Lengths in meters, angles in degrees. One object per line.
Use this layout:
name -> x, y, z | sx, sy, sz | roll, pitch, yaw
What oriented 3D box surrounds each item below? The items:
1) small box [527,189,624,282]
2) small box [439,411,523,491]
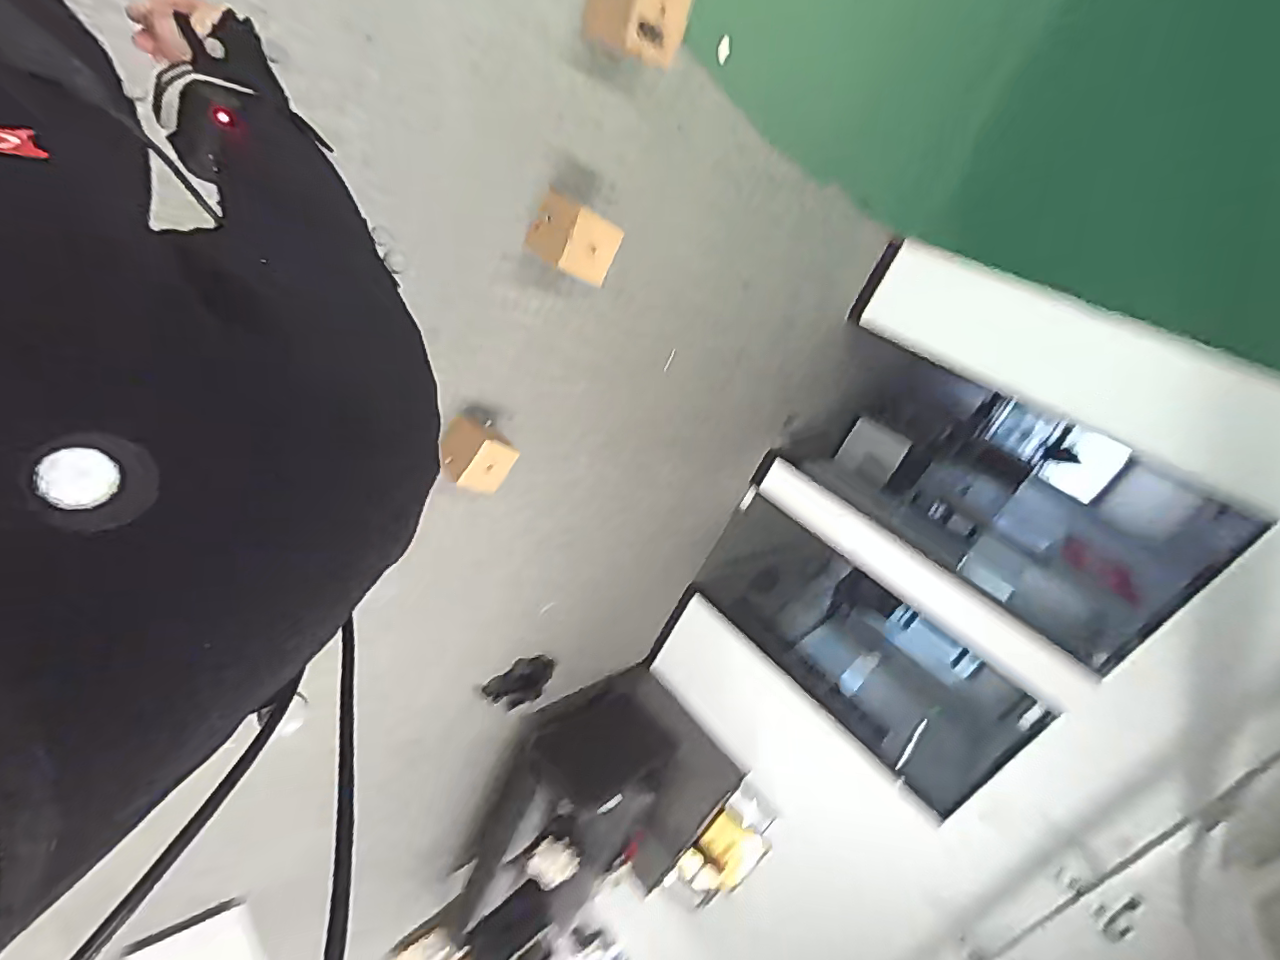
small box -> -0.184, -0.687, 1.520 | 0.179, 0.176, 0.168 | 1, 123, -52
small box -> -0.519, -0.092, 1.746 | 0.179, 0.176, 0.168 | -56, 150, 9
